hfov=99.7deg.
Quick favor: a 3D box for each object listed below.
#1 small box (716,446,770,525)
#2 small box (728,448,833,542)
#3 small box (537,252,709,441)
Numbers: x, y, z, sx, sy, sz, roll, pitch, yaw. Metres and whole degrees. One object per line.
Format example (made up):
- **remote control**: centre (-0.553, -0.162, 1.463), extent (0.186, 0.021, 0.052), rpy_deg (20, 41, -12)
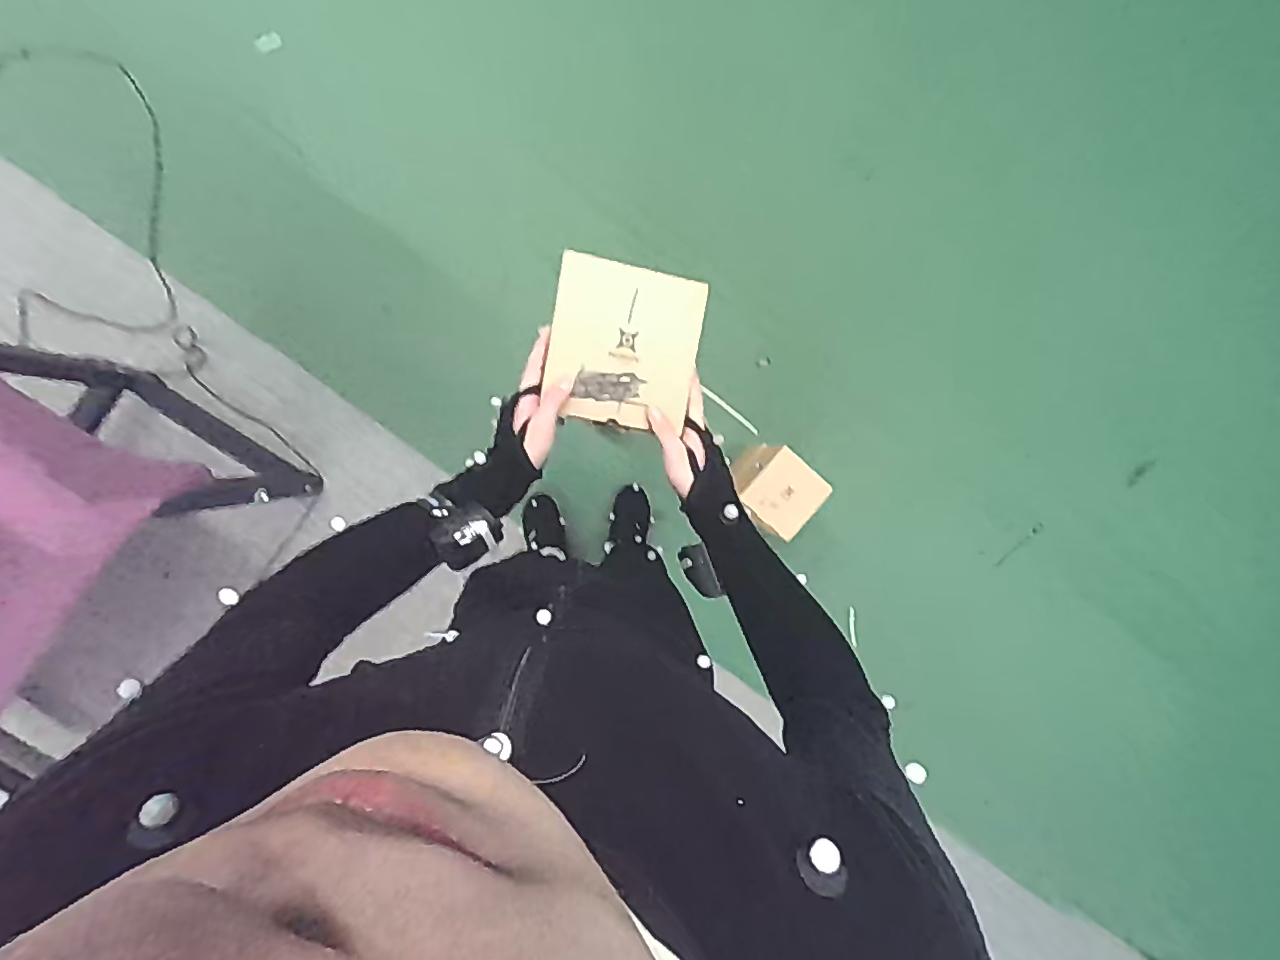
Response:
- **small box**: centre (0.342, 0.018, 1.557), extent (0.168, 0.176, 0.179), rpy_deg (40, 91, -5)
- **small box**: centre (0.352, 0.032, 1.393), extent (0.168, 0.176, 0.179), rpy_deg (41, 90, -5)
- **small box**: centre (-0.031, -0.151, 0.666), extent (0.168, 0.176, 0.179), rpy_deg (9, 95, -12)
